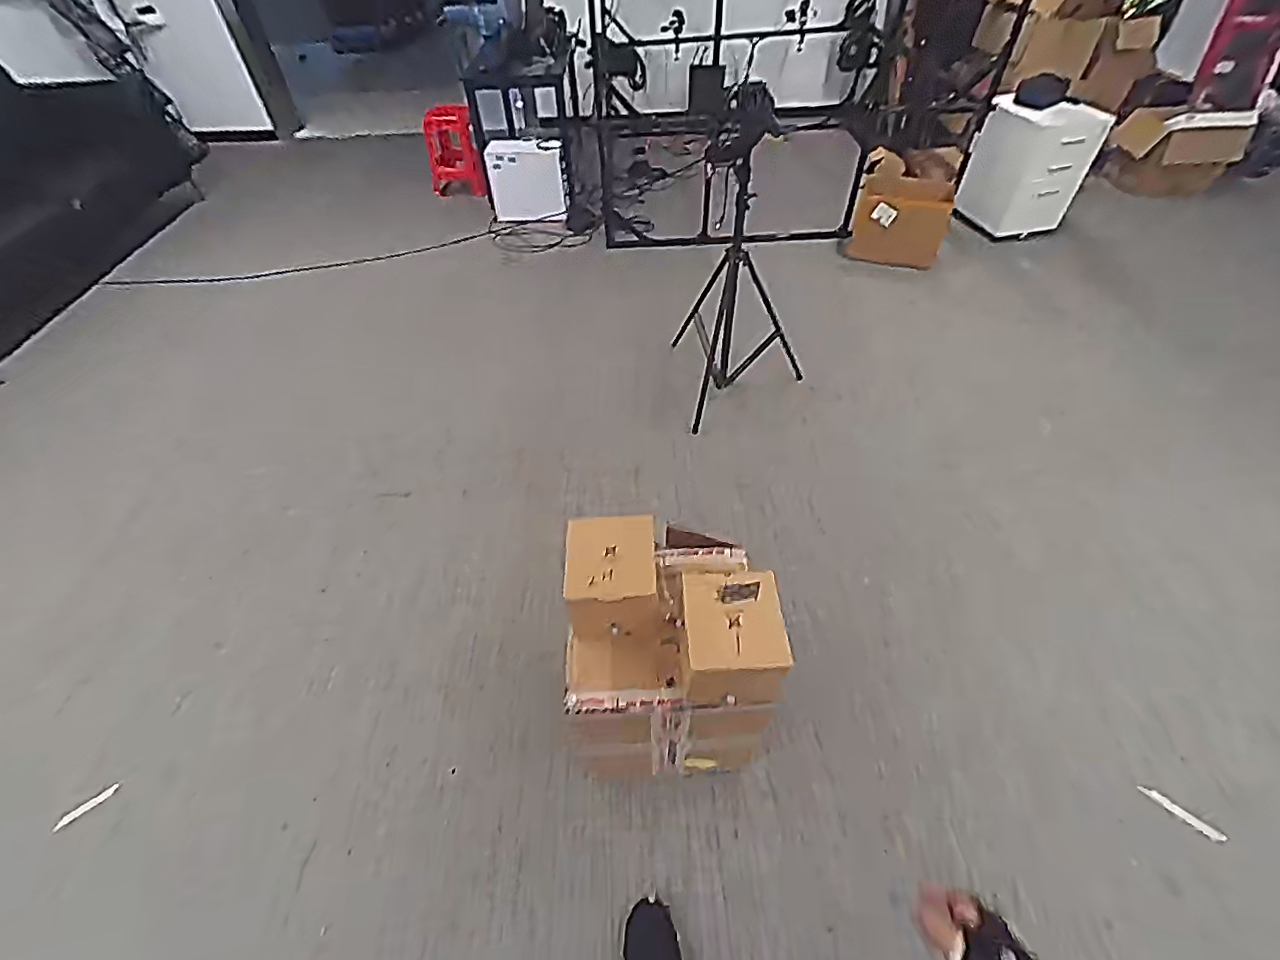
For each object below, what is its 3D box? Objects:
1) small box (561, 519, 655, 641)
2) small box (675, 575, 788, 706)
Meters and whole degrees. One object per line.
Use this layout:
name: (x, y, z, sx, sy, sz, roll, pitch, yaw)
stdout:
small box: (-0.056, 0.197, 1.057, 0.168, 0.176, 0.179, -3, 50, 1)
small box: (0.153, 0.290, 0.973, 0.168, 0.176, 0.179, -2, 50, -1)
